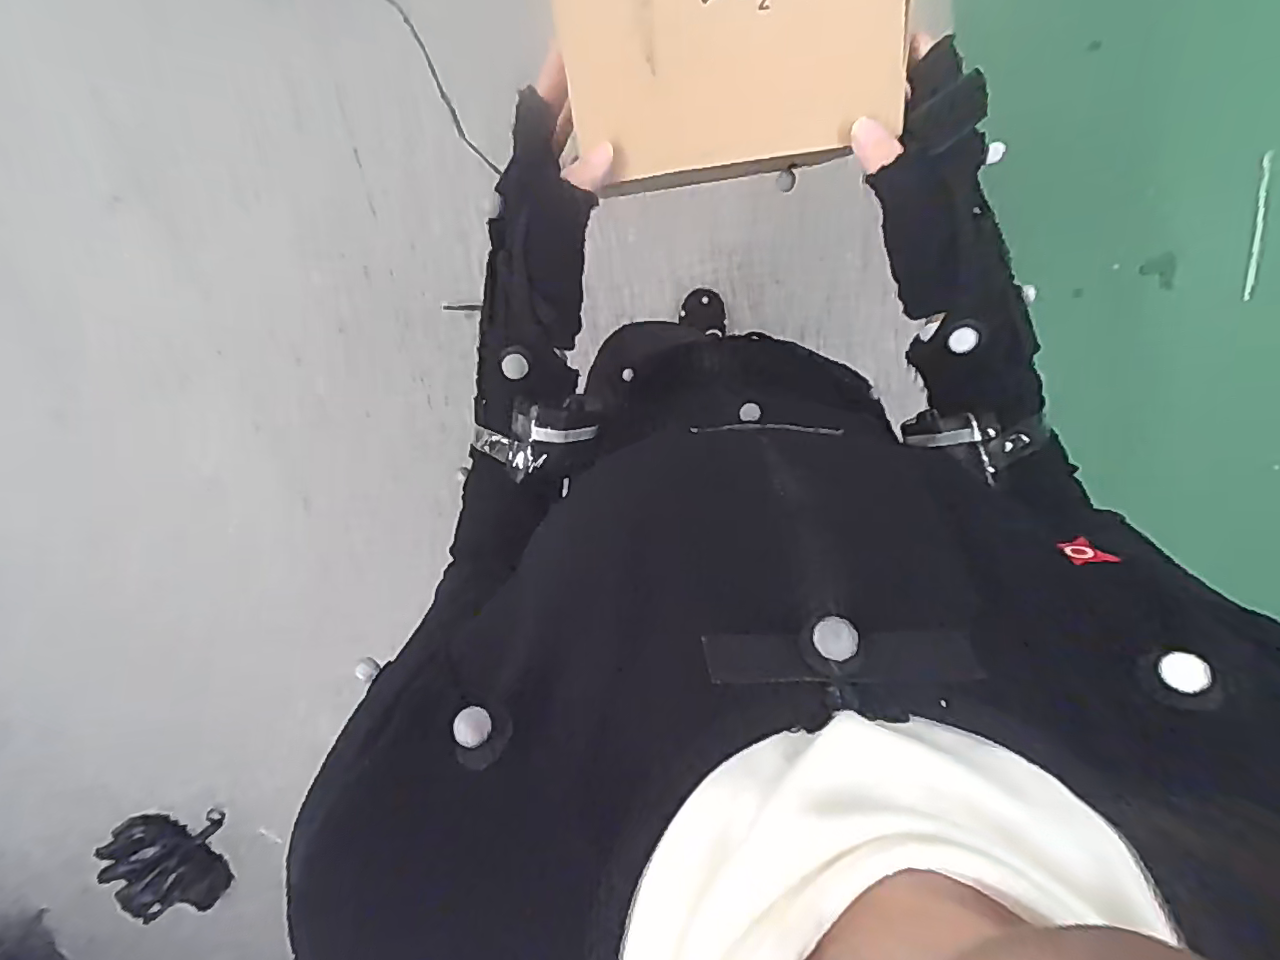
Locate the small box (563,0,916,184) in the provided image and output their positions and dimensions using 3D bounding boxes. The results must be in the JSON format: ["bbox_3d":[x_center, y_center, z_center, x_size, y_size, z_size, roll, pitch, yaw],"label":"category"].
[{"bbox_3d":[0.045,-0.291,0.331,0.179,0.176,0.168,-9,114,4],"label":"small box"}]
